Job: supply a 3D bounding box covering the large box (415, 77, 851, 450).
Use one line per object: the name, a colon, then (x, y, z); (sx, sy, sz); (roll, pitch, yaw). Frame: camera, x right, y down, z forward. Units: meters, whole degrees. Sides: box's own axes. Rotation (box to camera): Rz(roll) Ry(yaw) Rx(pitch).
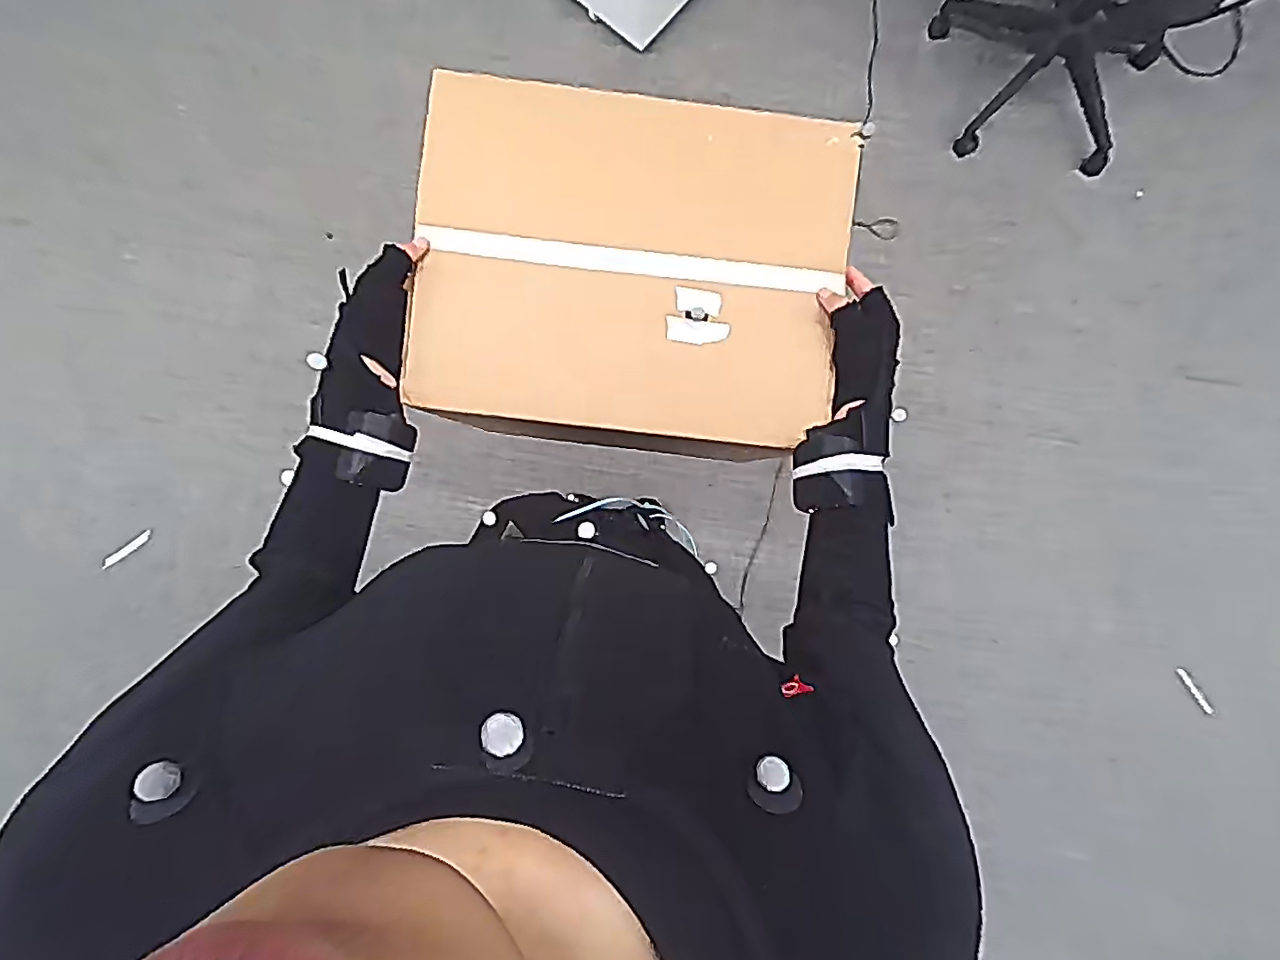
large box: (-0.012, -0.214, 0.669); (0.408, 0.320, 0.320); (7, 92, -2)
